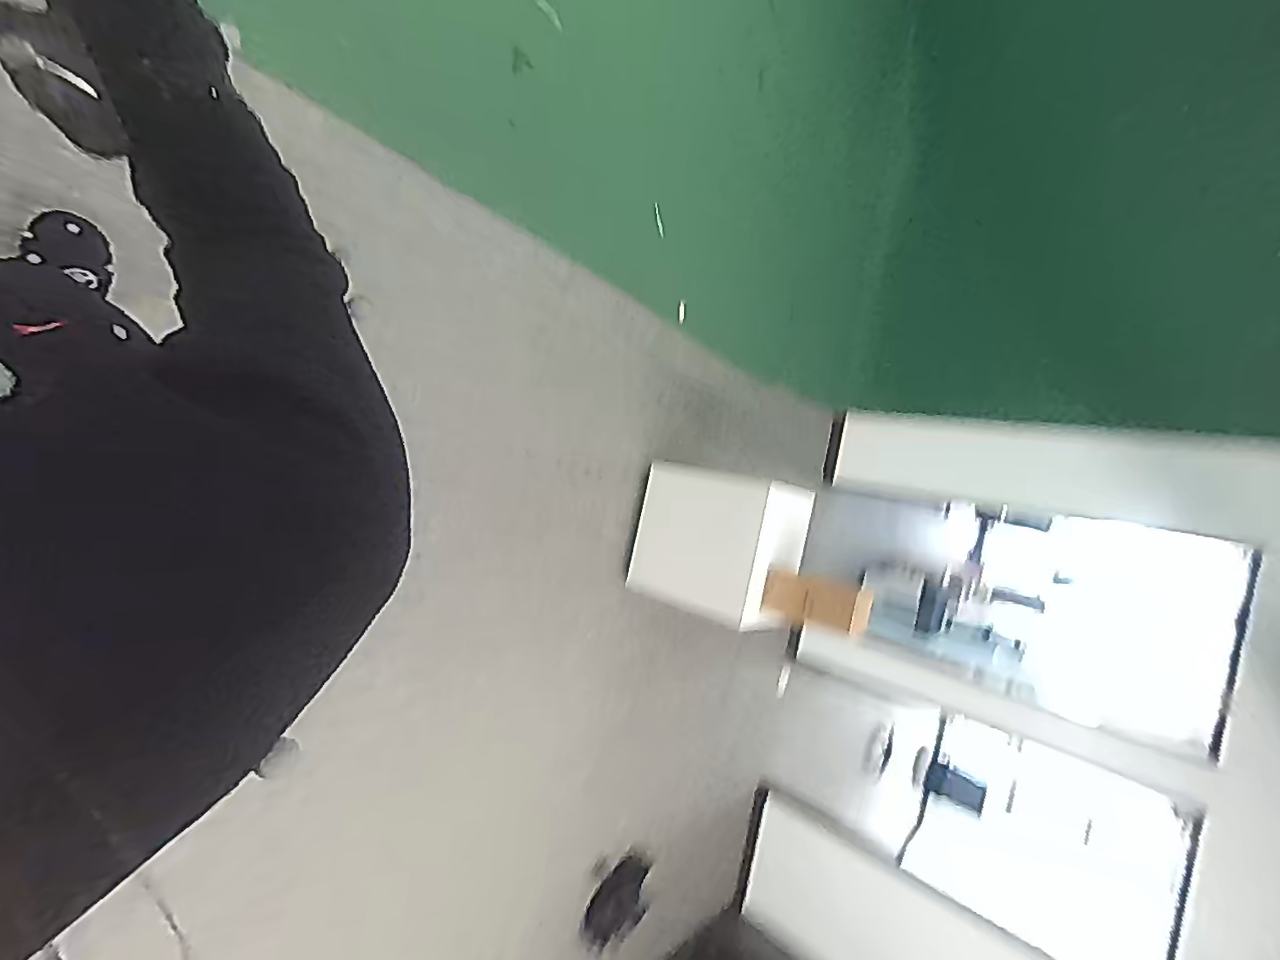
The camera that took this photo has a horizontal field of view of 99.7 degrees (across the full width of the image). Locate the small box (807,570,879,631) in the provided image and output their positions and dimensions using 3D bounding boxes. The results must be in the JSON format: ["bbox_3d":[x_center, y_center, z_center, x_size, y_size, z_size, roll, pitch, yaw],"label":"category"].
[{"bbox_3d":[0.707,0.415,1.886,0.179,0.176,0.168,13,89,-50],"label":"small box"}]

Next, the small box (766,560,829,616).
[{"bbox_3d":[0.587,0.396,1.996,0.179,0.176,0.168,11,91,-50],"label":"small box"}]
